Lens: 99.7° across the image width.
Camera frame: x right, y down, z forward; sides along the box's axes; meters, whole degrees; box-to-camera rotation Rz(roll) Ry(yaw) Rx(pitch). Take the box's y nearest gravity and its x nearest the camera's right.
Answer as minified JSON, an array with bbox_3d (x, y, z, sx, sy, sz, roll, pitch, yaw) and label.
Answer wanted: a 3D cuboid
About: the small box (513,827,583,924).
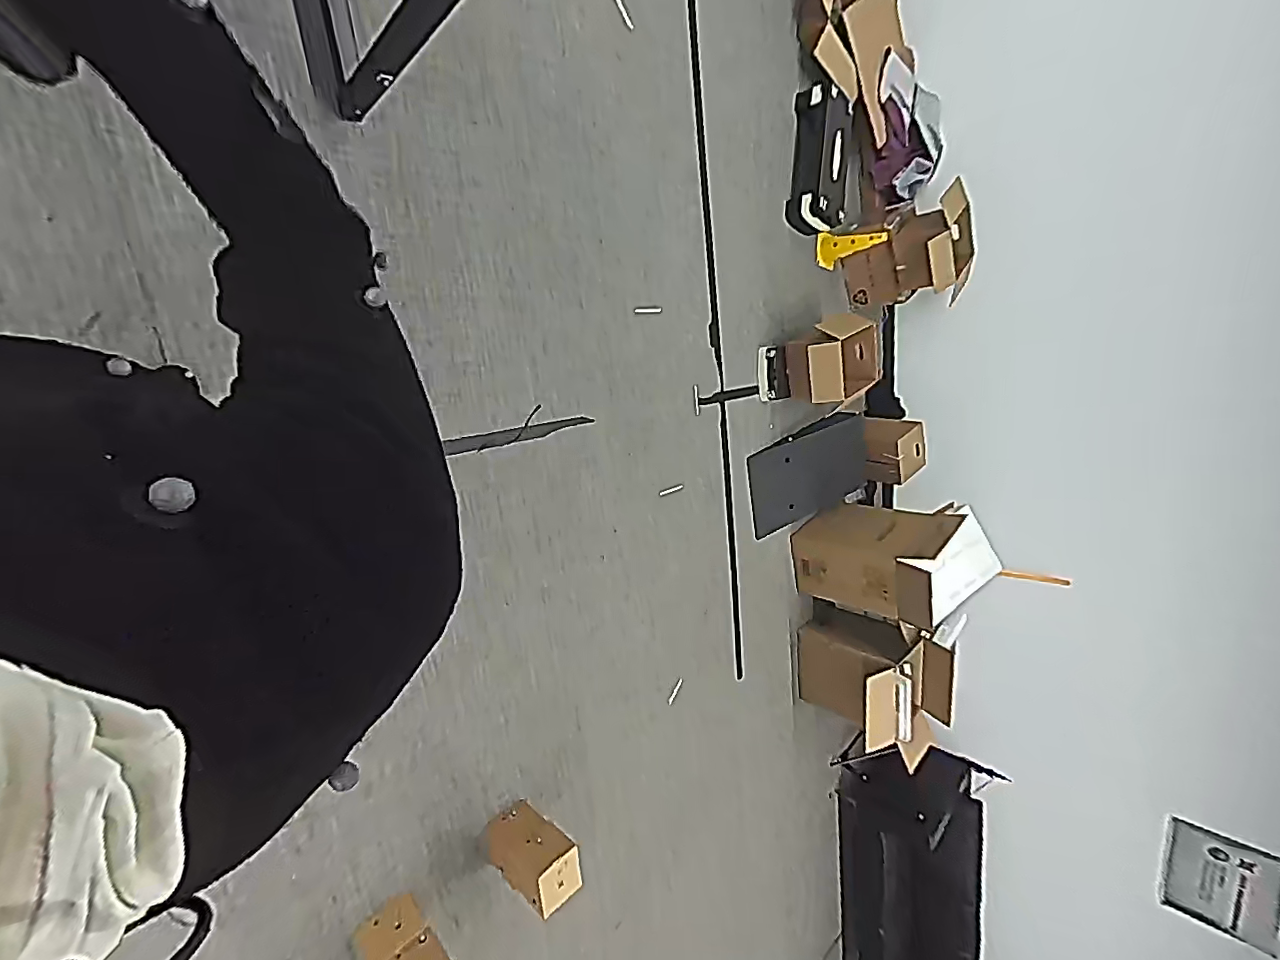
[{"bbox_3d":[-0.319,1.354,1.866,0.168,0.176,0.179,-17,106,-44],"label":"small box"}]

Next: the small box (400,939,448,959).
[{"bbox_3d":[-0.635,1.498,1.573,0.168,0.176,0.179,-22,112,-41],"label":"small box"}]

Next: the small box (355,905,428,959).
[{"bbox_3d":[-0.759,1.480,1.680,0.168,0.176,0.179,-22,111,-41],"label":"small box"}]

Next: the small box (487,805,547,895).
[{"bbox_3d":[-0.440,1.345,1.978,0.168,0.176,0.179,-16,107,-43],"label":"small box"}]
